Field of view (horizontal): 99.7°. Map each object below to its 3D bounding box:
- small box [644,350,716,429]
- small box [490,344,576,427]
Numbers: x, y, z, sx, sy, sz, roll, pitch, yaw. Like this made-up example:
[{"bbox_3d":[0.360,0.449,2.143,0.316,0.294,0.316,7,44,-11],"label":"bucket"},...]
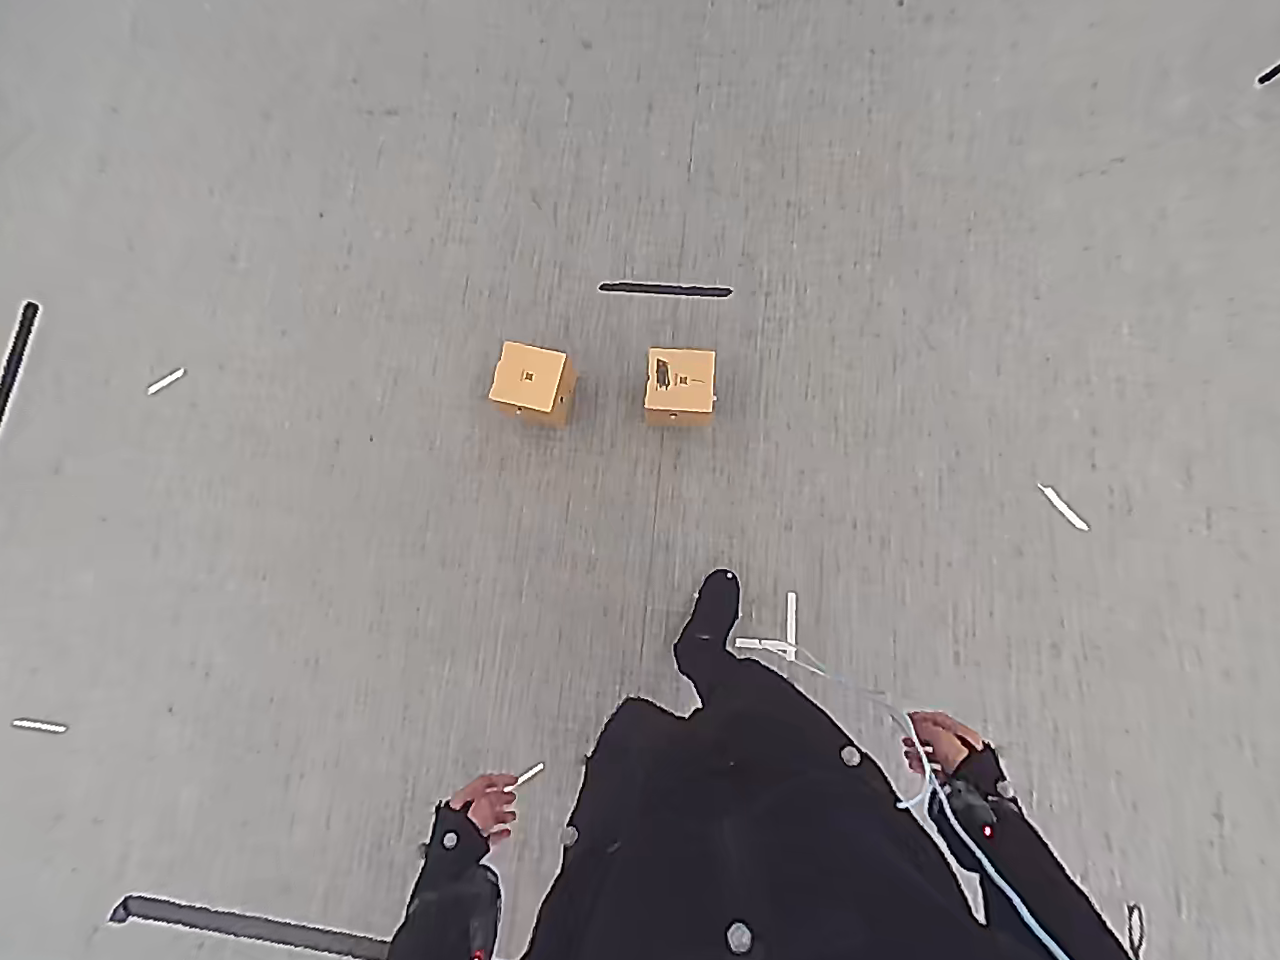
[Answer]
[{"bbox_3d":[0.108,-0.241,1.471,0.179,0.176,0.168,4,81,3],"label":"small box"},{"bbox_3d":[-0.287,-0.255,1.499,0.179,0.176,0.168,13,82,7],"label":"small box"}]
